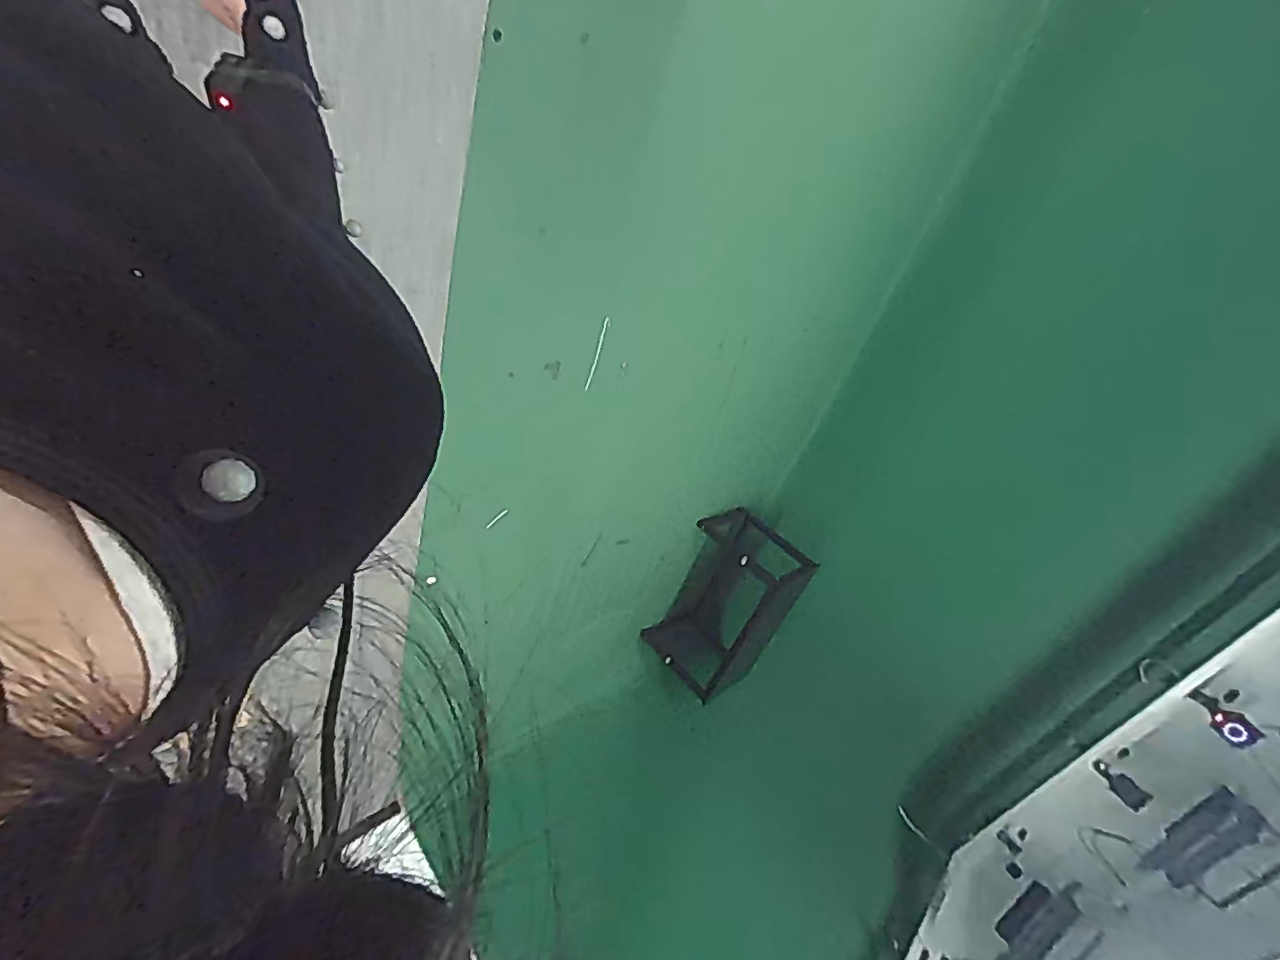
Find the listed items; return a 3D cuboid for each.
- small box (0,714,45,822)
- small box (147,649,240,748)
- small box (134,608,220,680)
[{"bbox_3d":[-1.524,0.680,1.250,0.168,0.176,0.179,12,115,-56],"label":"small box"},{"bbox_3d":[-1.255,0.603,1.524,0.168,0.176,0.179,-16,137,-43],"label":"small box"},{"bbox_3d":[-1.363,0.504,1.600,0.168,0.176,0.179,-17,138,-43],"label":"small box"}]
